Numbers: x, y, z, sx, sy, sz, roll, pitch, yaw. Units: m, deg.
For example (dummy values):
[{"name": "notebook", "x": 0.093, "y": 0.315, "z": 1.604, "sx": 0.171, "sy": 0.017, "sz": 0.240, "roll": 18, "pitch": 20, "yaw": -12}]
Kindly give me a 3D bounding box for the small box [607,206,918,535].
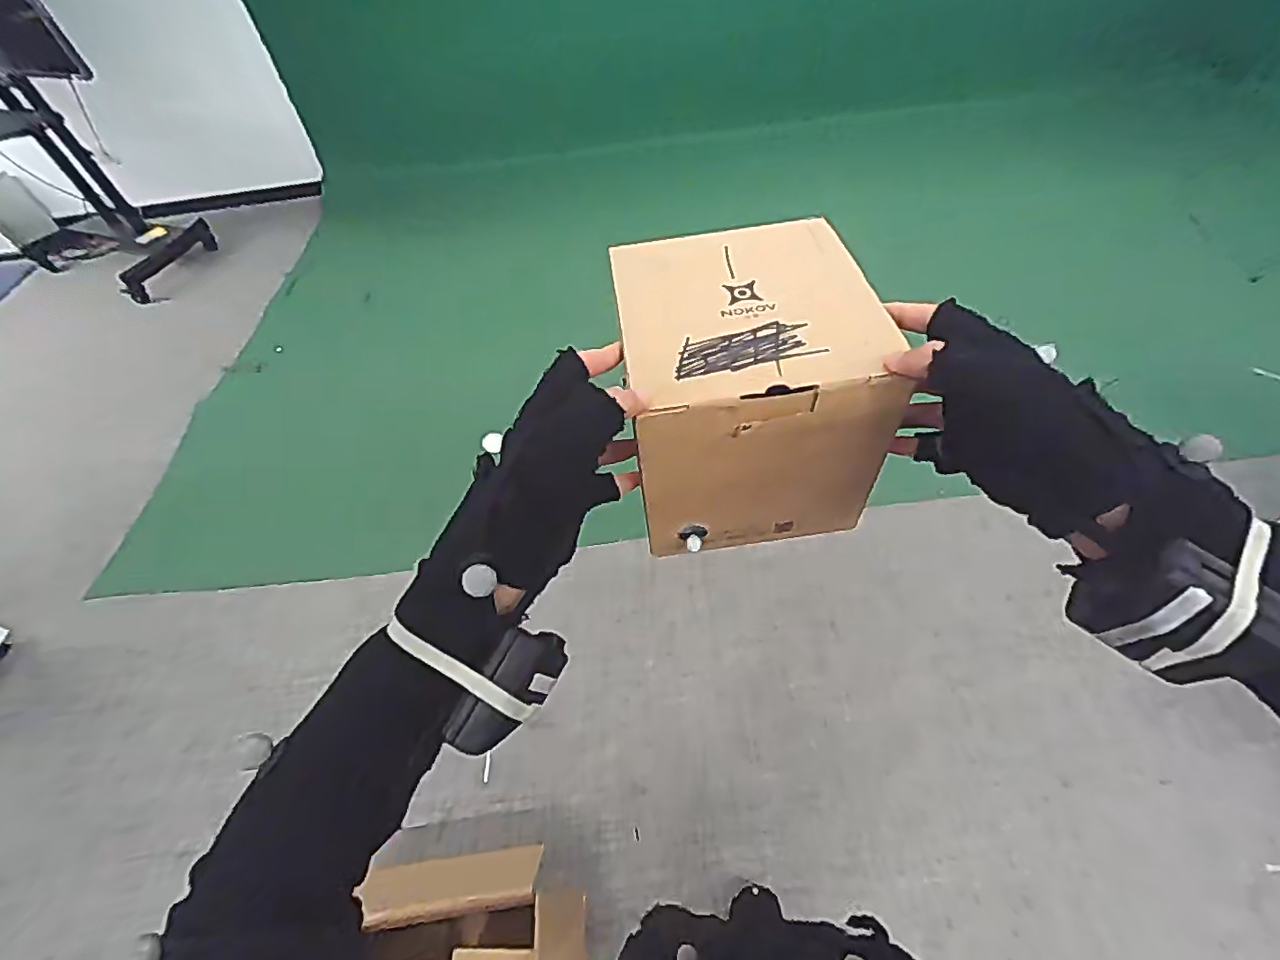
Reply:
[{"name": "small box", "x": 0.072, "y": -0.072, "z": 0.407, "sx": 0.168, "sy": 0.176, "sz": 0.179, "roll": -8, "pitch": 53, "yaw": 0}]
